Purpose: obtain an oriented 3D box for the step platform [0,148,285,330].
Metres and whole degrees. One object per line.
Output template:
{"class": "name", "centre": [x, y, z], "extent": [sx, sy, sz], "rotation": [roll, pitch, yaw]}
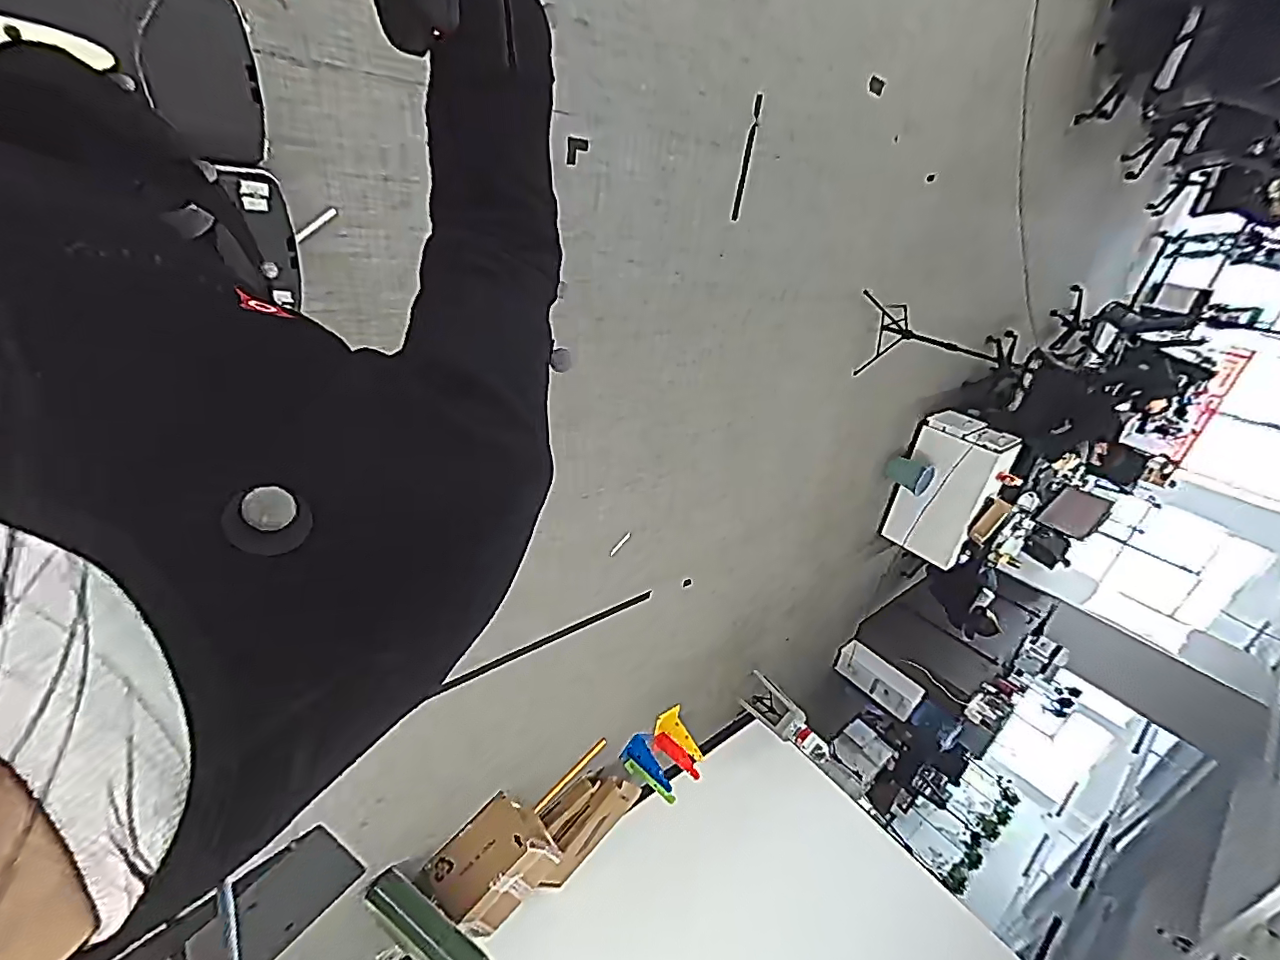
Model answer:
{"class": "step platform", "centre": [-1.048, -0.433, 0.972], "extent": [0.684, 0.204, 0.286], "rotation": [-15, 125, -34]}
